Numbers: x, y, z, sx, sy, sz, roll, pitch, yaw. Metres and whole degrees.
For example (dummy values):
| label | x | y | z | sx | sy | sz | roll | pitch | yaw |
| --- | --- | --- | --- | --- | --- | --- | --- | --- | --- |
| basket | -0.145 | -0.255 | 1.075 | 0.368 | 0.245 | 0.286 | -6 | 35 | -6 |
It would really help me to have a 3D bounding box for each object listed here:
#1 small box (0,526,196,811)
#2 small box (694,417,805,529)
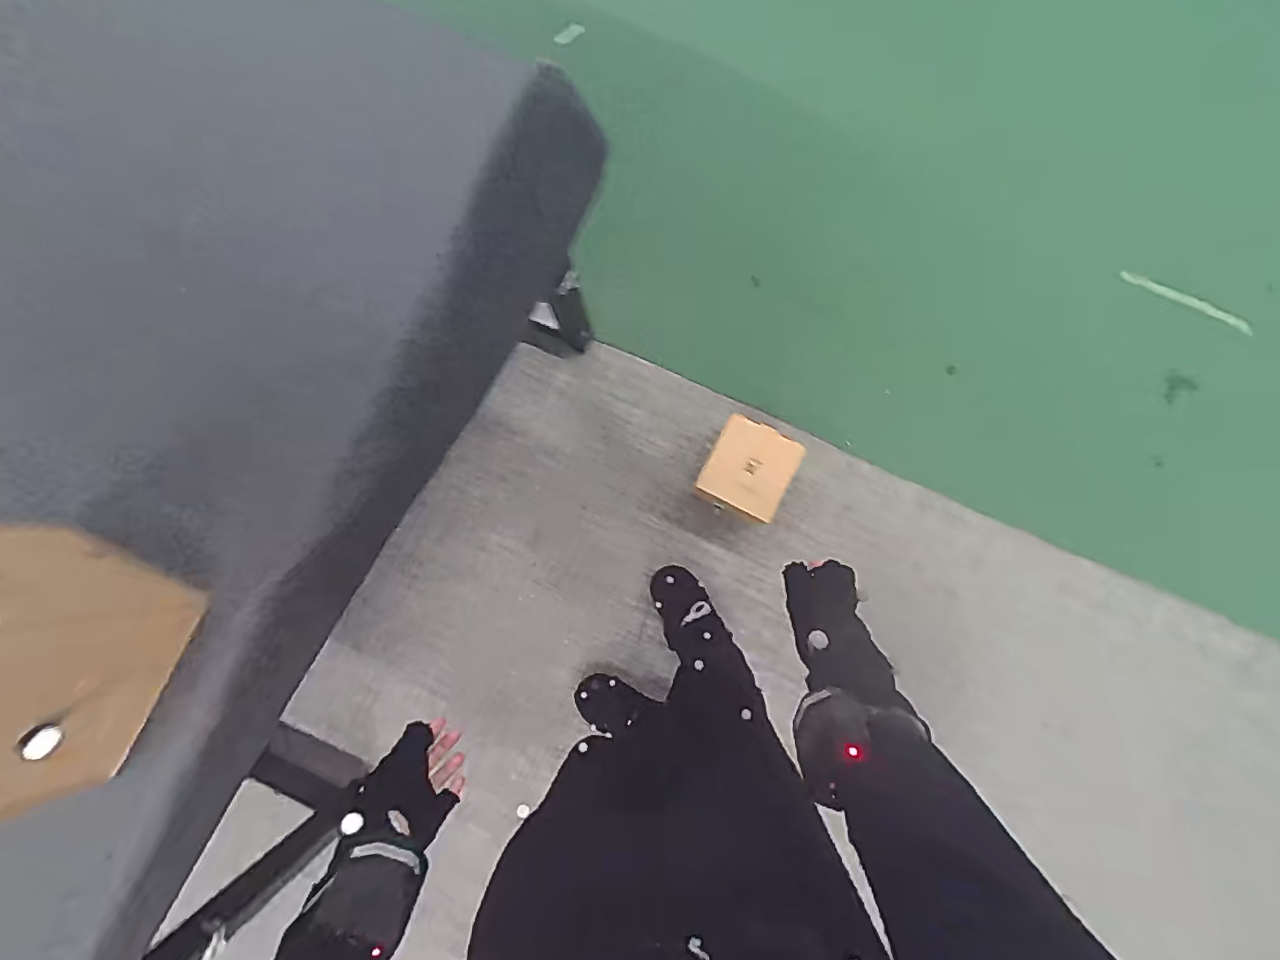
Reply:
| label | x | y | z | sx | sy | sz | roll | pitch | yaw |
| --- | --- | --- | --- | --- | --- | --- | --- | --- | --- |
| small box | -0.515 | 0.146 | 0.427 | 0.168 | 0.176 | 0.179 | 24 | 84 | 5 |
| small box | 0.224 | -0.008 | 1.163 | 0.168 | 0.176 | 0.179 | 27 | 86 | 5 |
